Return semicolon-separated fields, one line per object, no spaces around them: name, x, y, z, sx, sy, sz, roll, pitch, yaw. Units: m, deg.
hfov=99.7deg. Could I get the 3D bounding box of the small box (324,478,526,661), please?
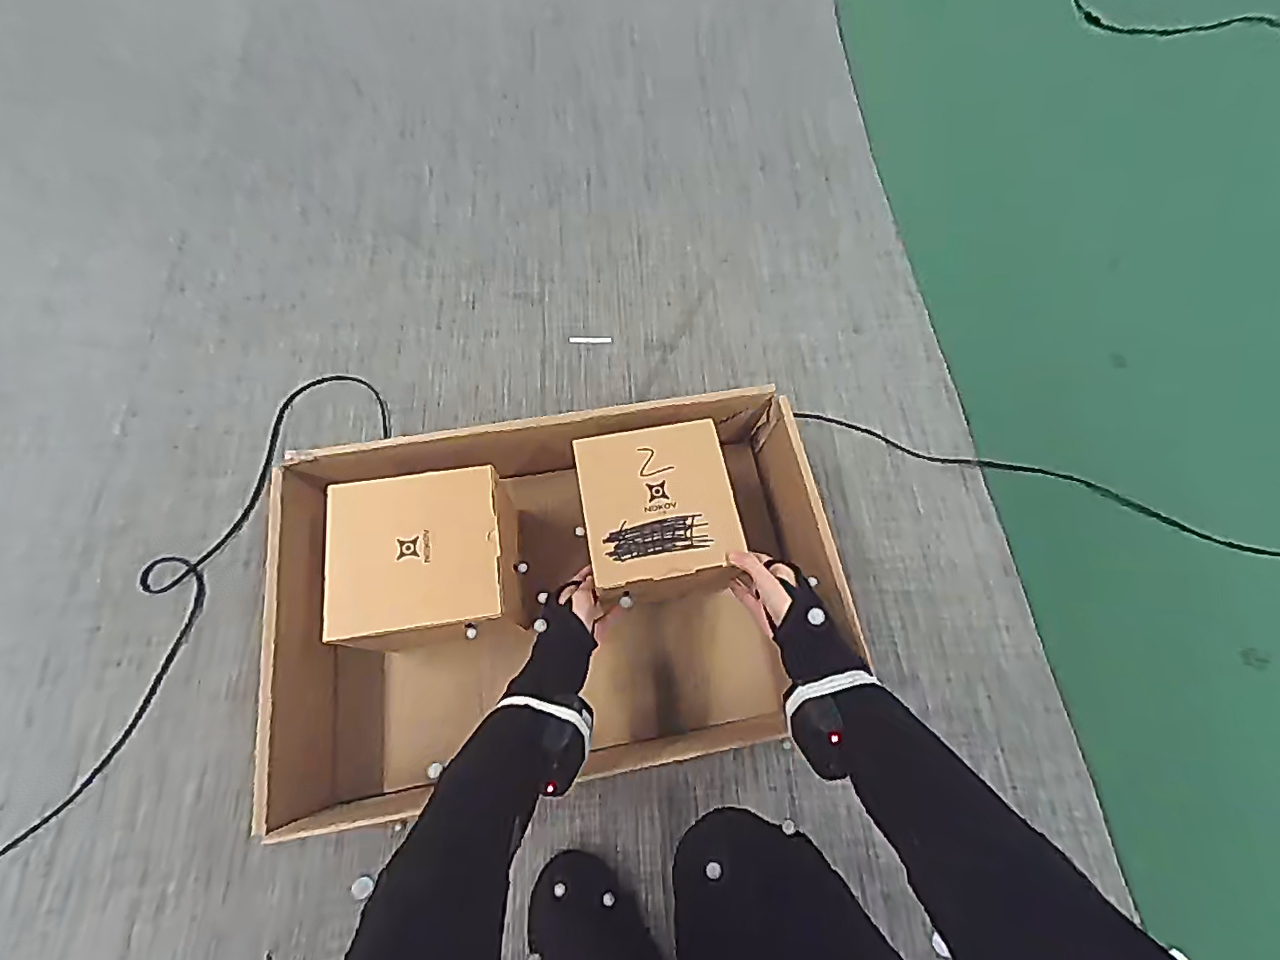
small box;-0.239;0.114;0.638;0.179;0.176;0.168;-8;69;-7
